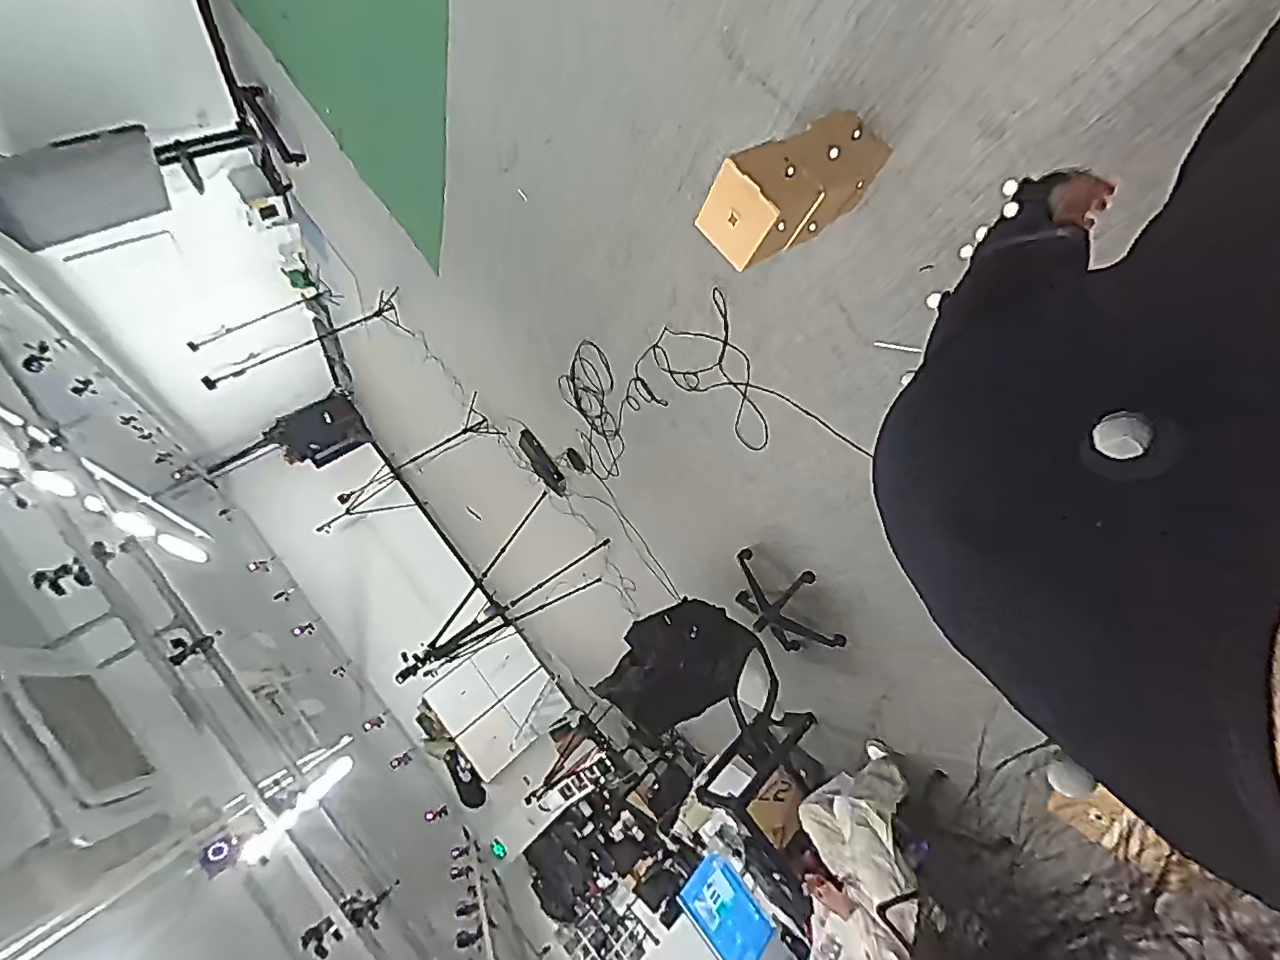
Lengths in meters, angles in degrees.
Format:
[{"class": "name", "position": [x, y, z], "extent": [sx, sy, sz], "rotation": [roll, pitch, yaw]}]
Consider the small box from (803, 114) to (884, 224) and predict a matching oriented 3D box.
[{"class": "small box", "position": [0.485, -0.786, 1.372], "extent": [0.168, 0.176, 0.179], "rotation": [49, 153, 10]}]

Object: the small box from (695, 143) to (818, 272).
[{"class": "small box", "position": [0.261, -0.610, 1.212], "extent": [0.168, 0.176, 0.179], "rotation": [50, 151, 8]}]

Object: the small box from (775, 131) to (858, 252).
[{"class": "small box", "position": [0.380, -0.689, 1.291], "extent": [0.168, 0.176, 0.179], "rotation": [50, 151, 6]}]
